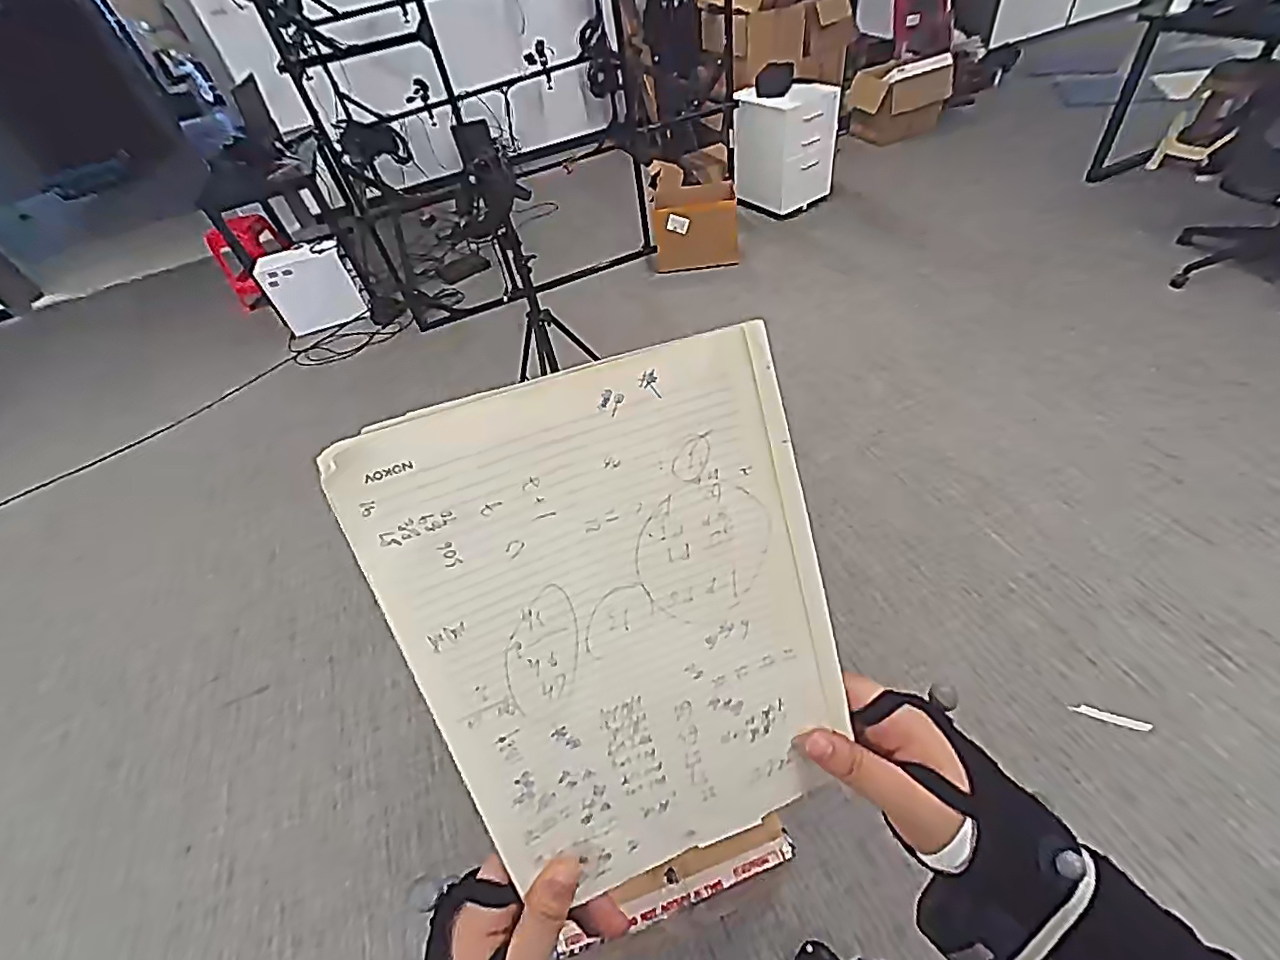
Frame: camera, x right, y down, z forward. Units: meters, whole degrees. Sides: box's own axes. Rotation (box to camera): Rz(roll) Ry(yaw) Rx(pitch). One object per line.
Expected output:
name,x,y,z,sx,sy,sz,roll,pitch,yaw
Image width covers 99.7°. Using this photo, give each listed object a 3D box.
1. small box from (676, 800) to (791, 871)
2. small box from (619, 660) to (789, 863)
small box,0.110,0.475,0.841,0.179,0.176,0.168,-19,48,-8
small box,0.076,0.373,0.715,0.168,0.176,0.179,-15,49,-6
